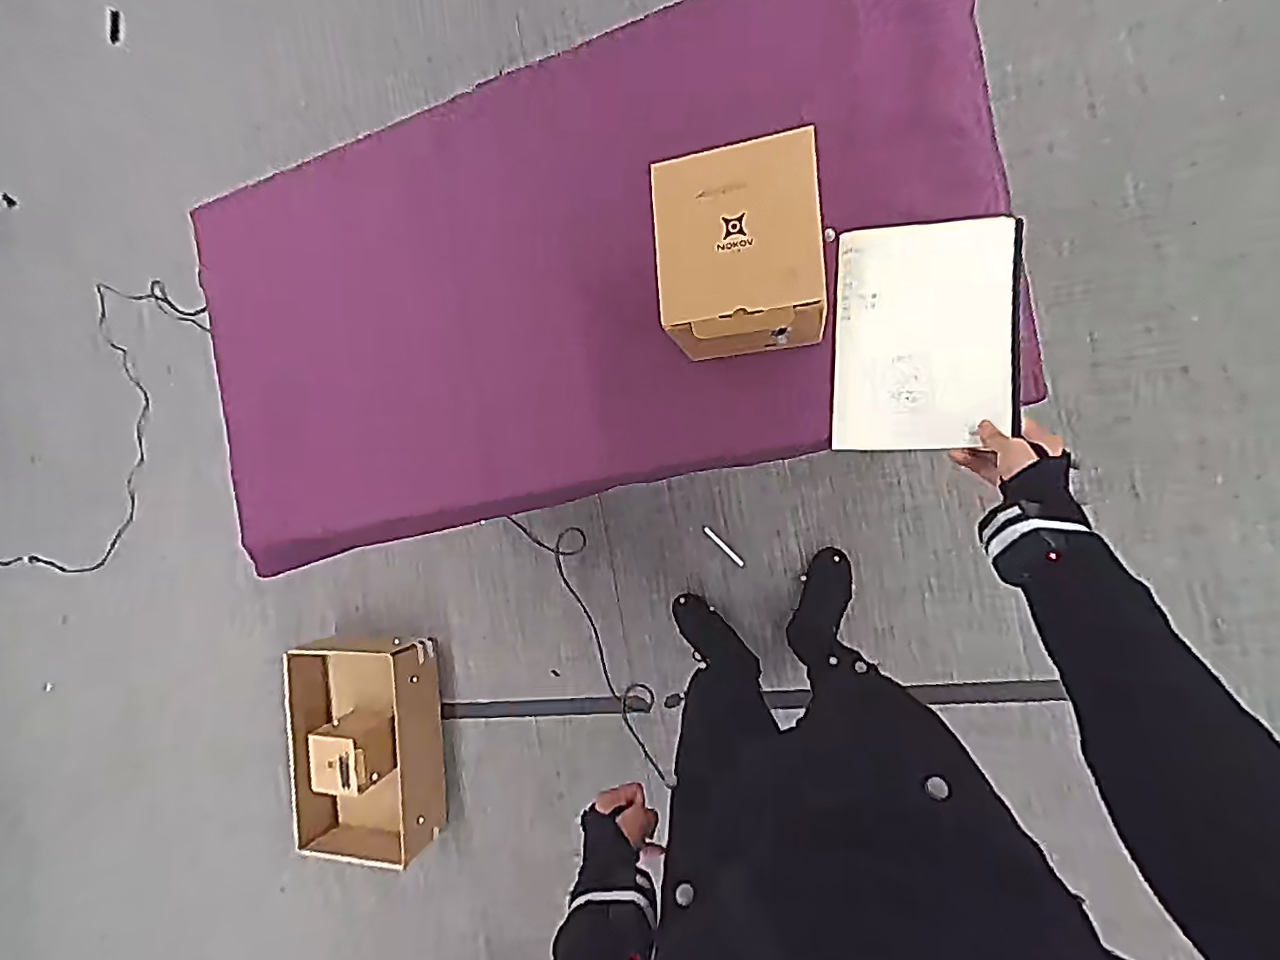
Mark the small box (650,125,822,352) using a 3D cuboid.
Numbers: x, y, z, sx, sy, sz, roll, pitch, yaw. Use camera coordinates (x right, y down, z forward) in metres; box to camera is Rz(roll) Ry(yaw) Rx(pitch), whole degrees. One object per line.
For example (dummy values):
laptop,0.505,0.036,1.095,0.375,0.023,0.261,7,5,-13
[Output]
small box,0.116,-0.251,0.616,0.168,0.176,0.179,-4,89,16
